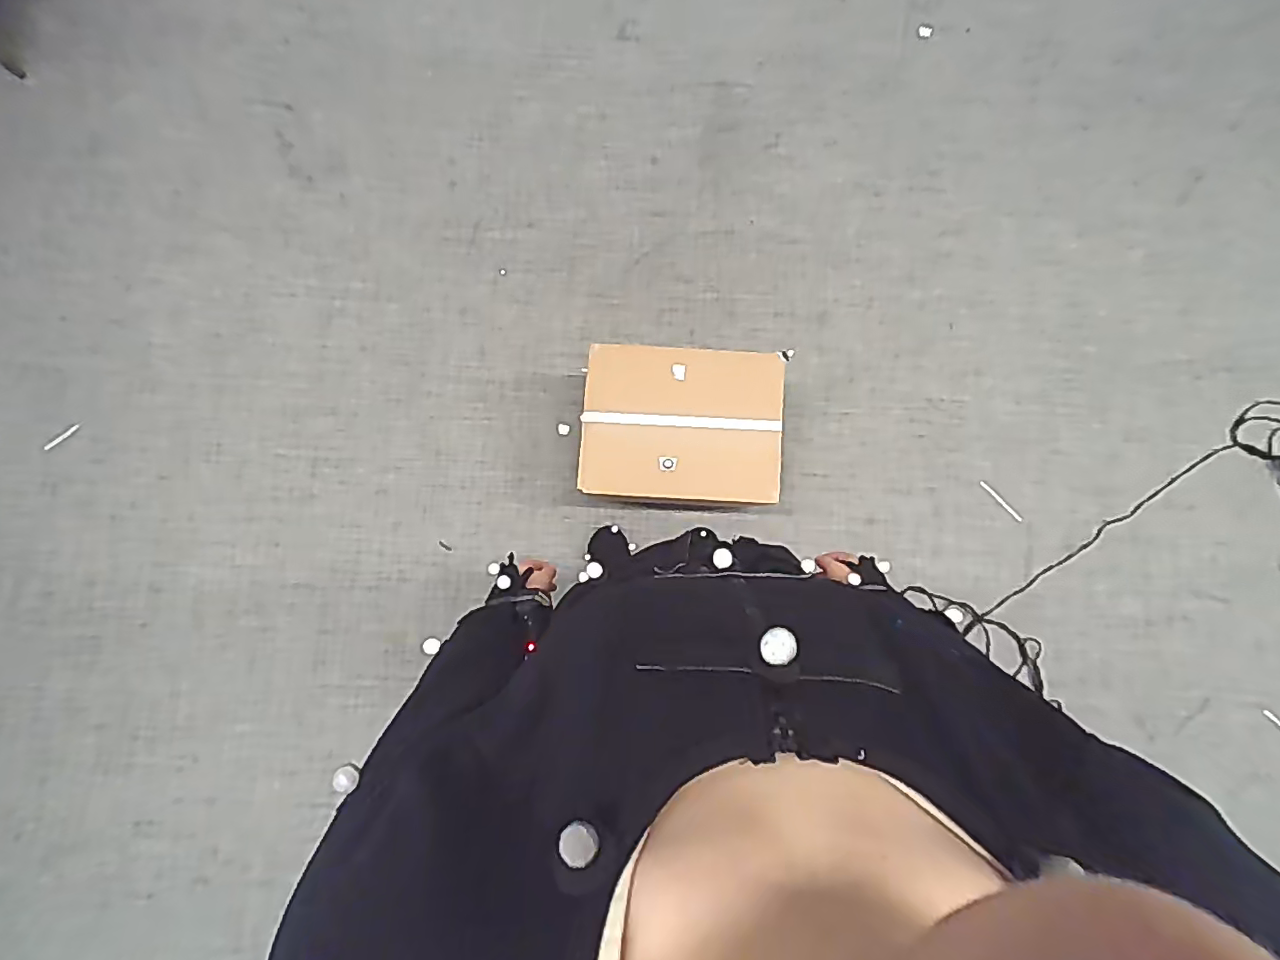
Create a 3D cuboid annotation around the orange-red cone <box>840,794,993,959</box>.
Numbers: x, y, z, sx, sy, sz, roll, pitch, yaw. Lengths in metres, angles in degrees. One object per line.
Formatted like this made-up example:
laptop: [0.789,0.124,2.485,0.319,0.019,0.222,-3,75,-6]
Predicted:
orange-red cone: [0.592,0.848,1.100,0.199,0.360,0.198,22,86,0]
